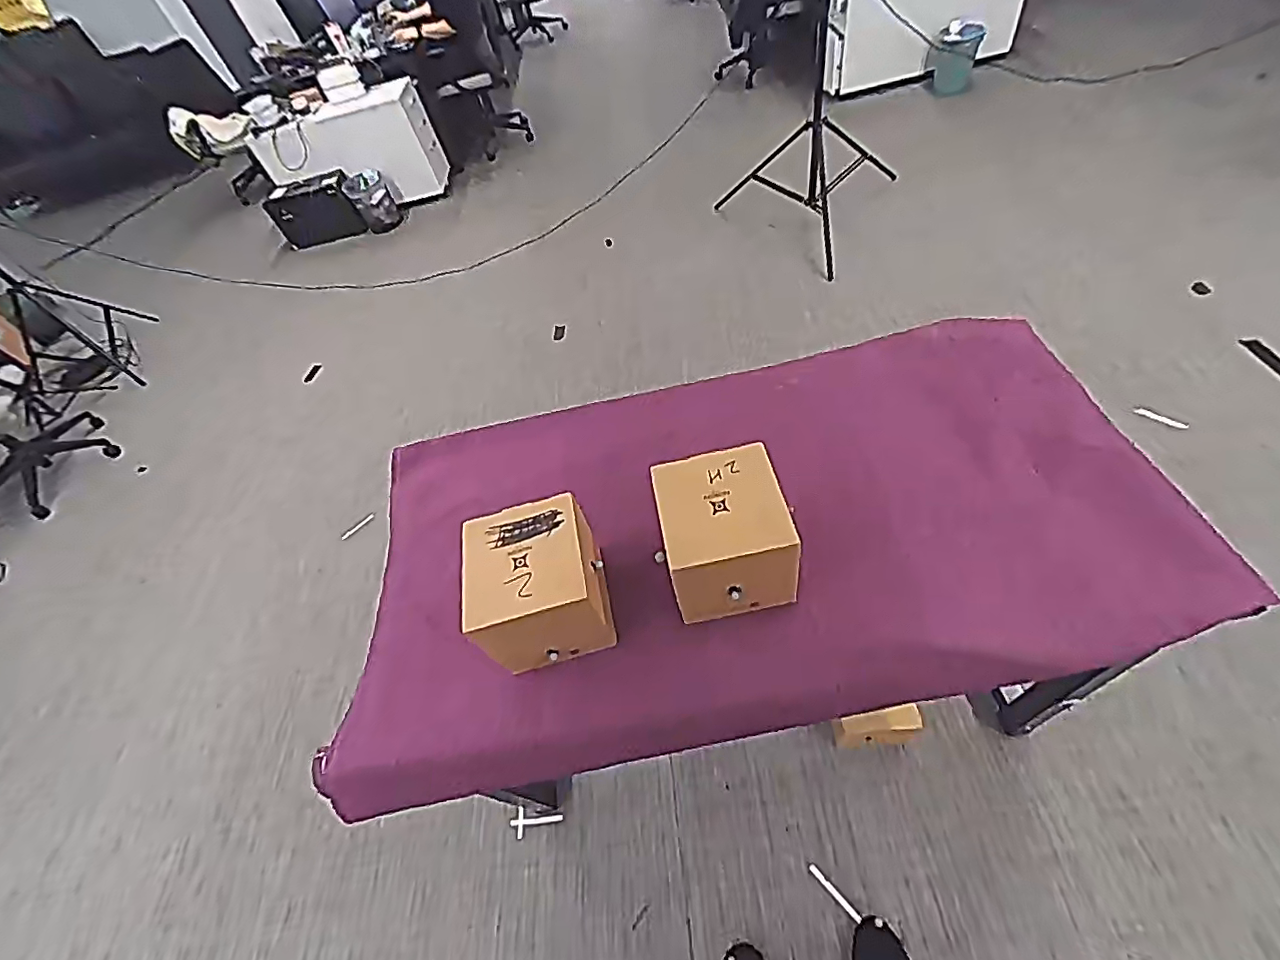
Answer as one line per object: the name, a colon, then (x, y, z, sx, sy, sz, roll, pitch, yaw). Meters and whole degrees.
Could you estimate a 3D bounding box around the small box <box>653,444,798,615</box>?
small box: (0.122, 0.080, 0.782, 0.168, 0.176, 0.179, -12, 50, 3)

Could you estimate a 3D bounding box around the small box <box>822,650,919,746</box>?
small box: (0.537, 0.522, 1.282, 0.168, 0.176, 0.179, -8, 51, 8)
